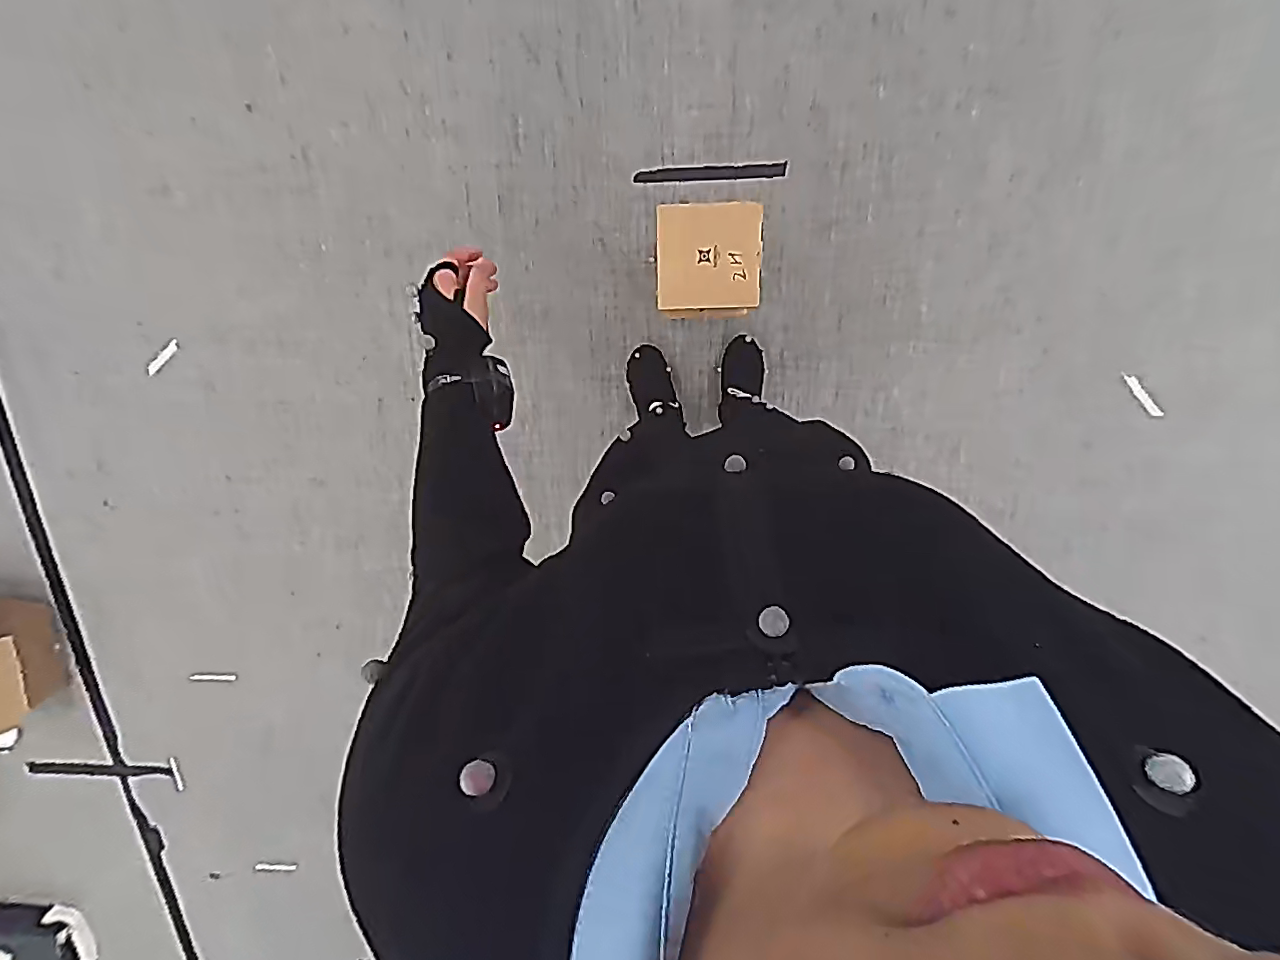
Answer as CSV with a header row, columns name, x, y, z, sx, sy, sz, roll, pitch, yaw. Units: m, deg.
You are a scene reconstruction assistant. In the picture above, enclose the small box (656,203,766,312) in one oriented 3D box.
name,x,y,z,sx,sy,sz,roll,pitch,yaw
small box,0.119,-0.389,0.967,0.179,0.176,0.168,-1,107,2
